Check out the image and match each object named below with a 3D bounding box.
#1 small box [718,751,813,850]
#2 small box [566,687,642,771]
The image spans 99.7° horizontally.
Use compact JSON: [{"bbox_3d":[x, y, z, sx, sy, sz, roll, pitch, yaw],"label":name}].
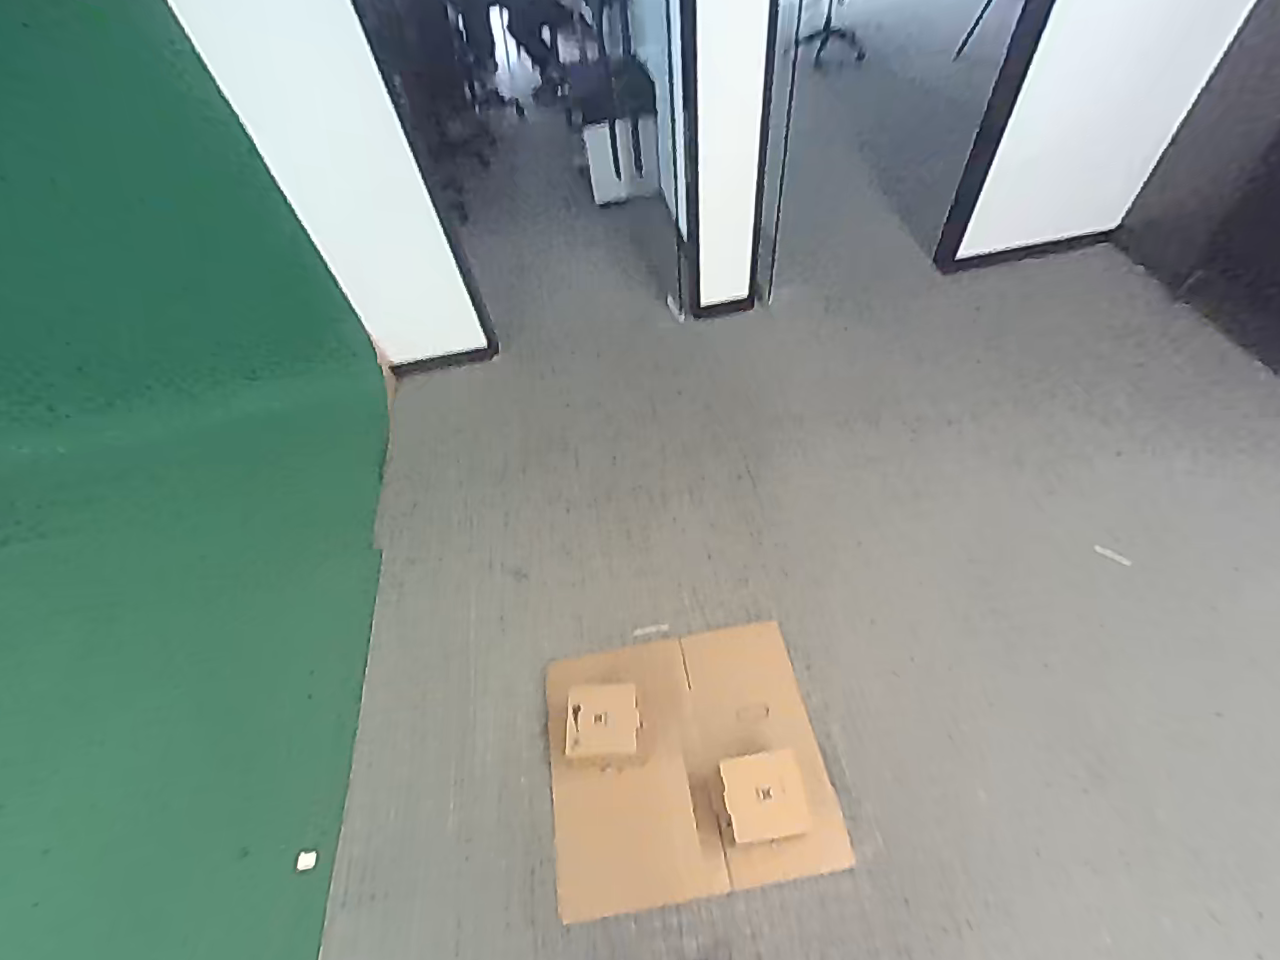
[{"bbox_3d":[0.284,0.750,1.260,0.179,0.176,0.168,-10,52,0],"label":"small box"},{"bbox_3d":[-0.084,0.639,1.386,0.179,0.176,0.168,-4,52,4],"label":"small box"}]
